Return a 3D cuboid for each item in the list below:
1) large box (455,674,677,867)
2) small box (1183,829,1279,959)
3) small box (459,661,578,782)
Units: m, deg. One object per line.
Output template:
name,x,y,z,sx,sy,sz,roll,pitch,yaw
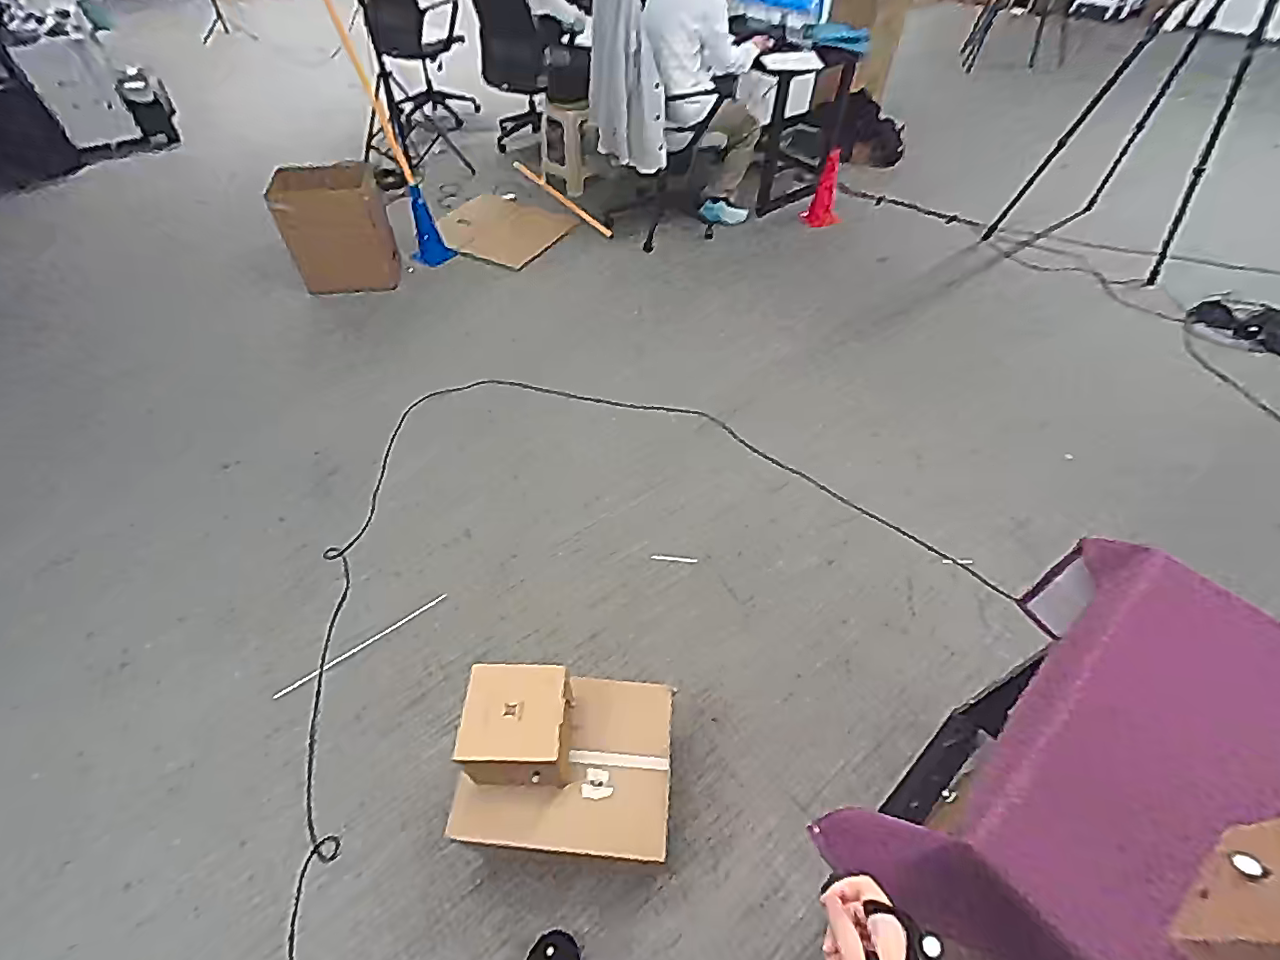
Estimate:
large box,-0.134,0.630,1.178,0.408,0.320,0.320,4,52,2
small box,0.663,0.438,0.482,0.168,0.176,0.179,-30,56,-22
small box,-0.214,0.451,1.007,0.179,0.176,0.168,1,49,1
